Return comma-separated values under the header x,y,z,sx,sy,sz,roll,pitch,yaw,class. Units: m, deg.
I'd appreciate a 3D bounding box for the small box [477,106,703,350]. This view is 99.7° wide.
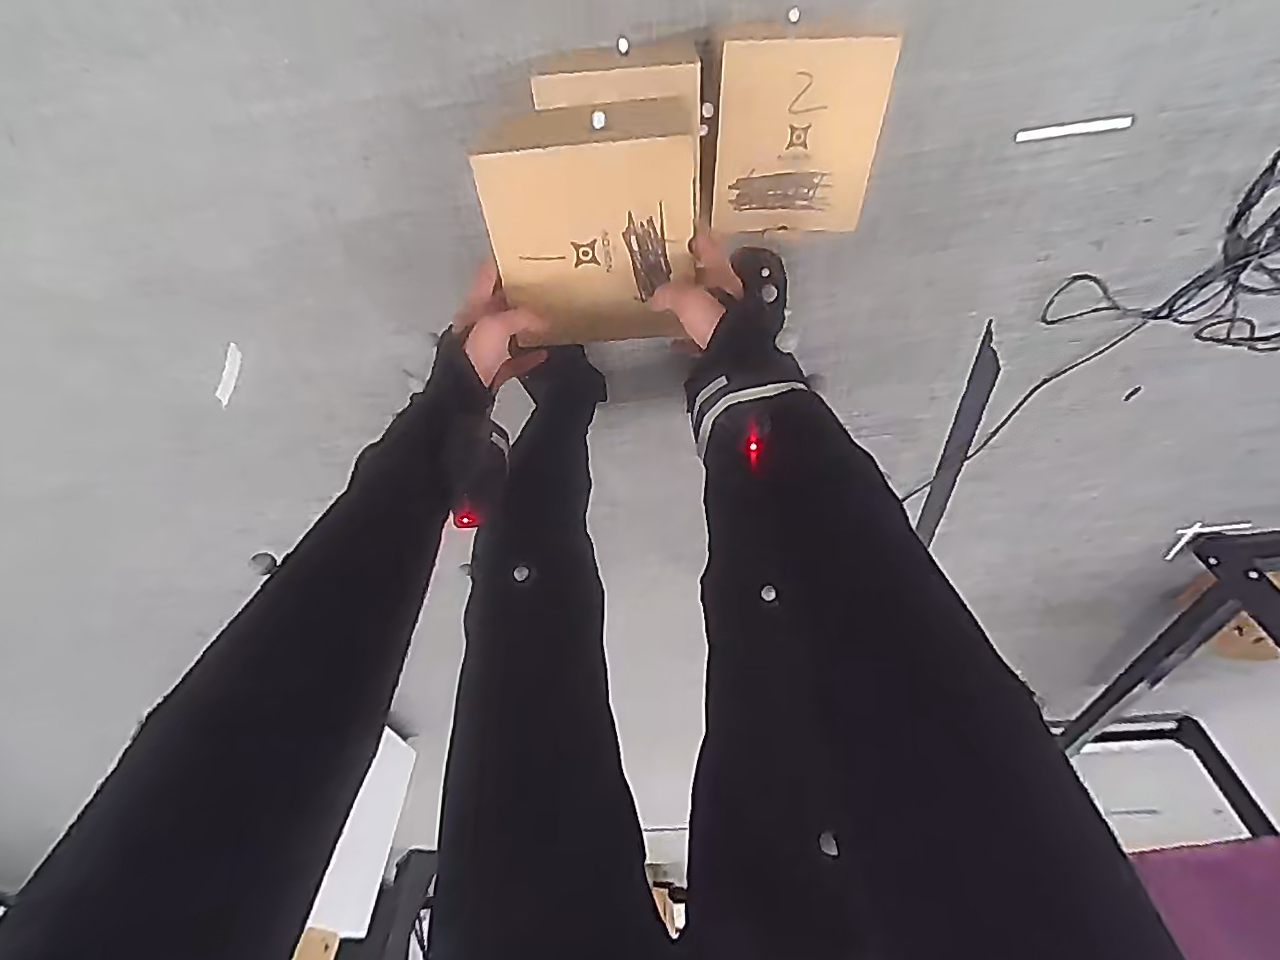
x,y,z,sx,sy,sz,roll,pitch,yaw,class
-0.033,-0.243,0.519,0.179,0.176,0.168,-3,132,4,small box

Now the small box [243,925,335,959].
x,y,z,sx,sy,sz,roll,pitch,yaw,class
-1.030,1.407,1.563,0.179,0.176,0.168,-3,135,4,small box
